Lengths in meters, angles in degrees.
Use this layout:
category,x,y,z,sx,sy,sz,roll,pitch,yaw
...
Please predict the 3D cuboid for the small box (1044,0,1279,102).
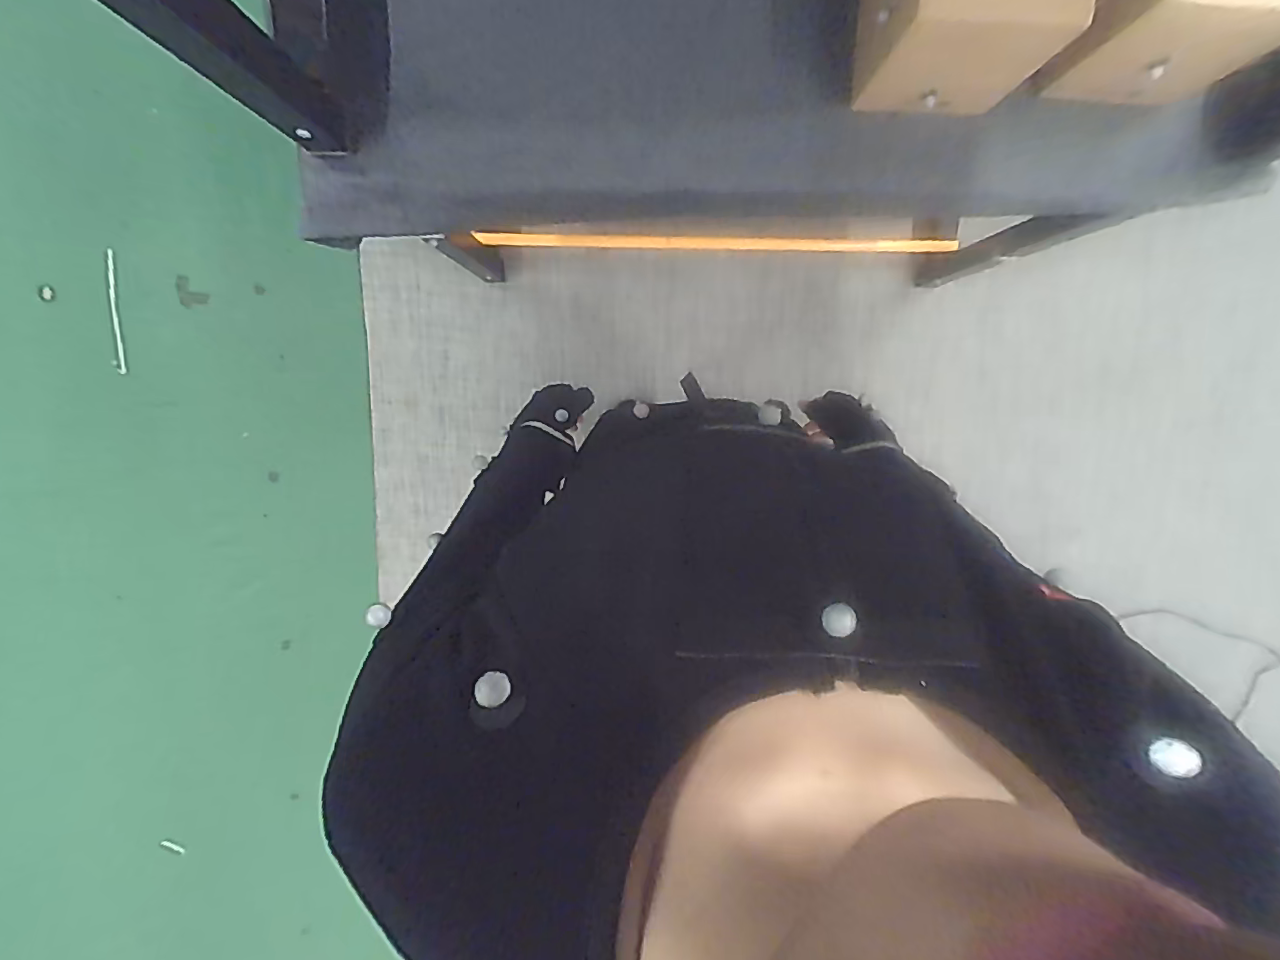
category,x,y,z,sx,sy,sz,roll,pitch,yaw
small box,0.574,-0.536,0.570,0.168,0.176,0.179,4,99,-1
